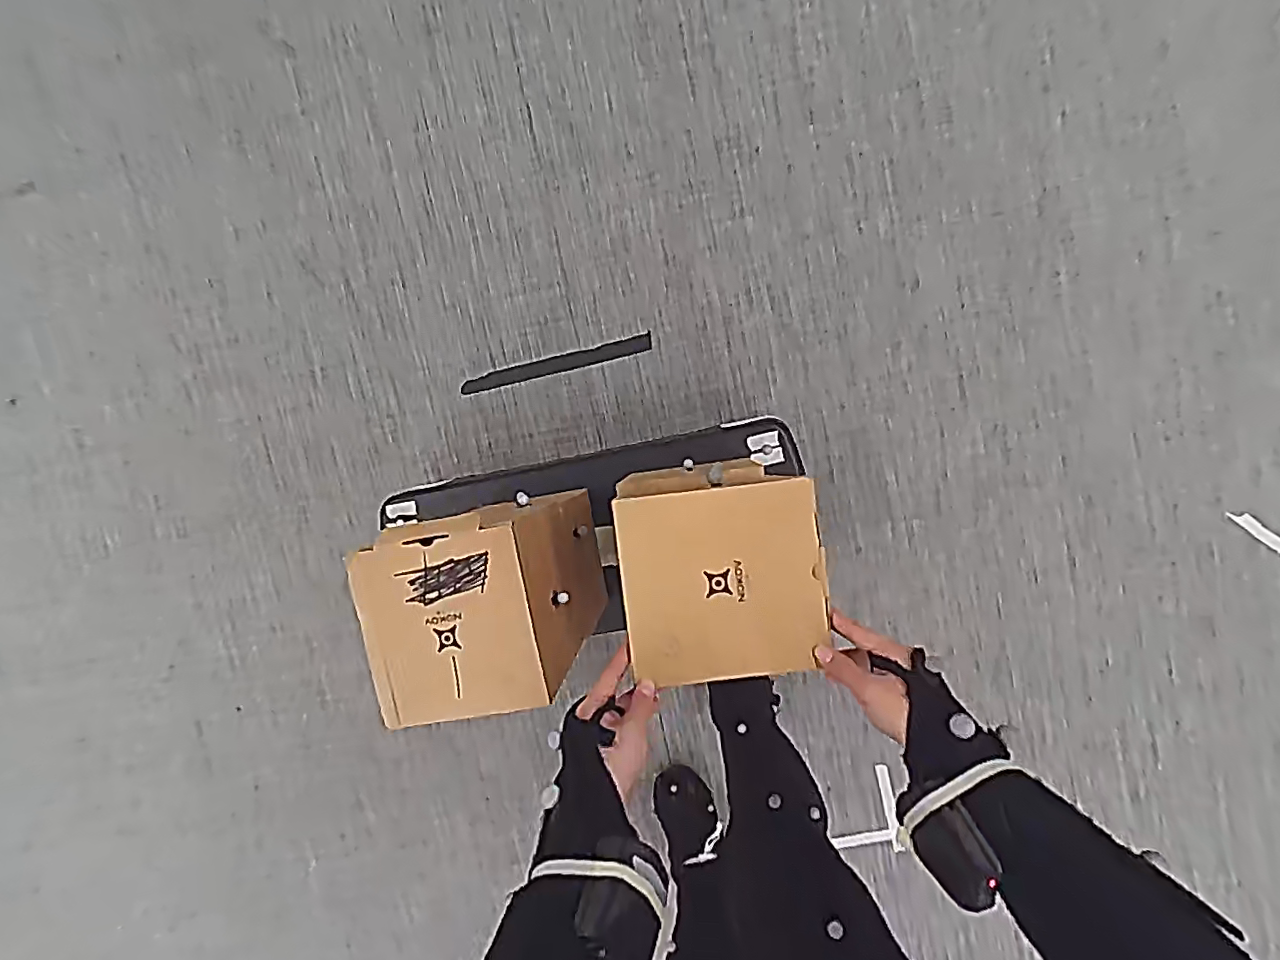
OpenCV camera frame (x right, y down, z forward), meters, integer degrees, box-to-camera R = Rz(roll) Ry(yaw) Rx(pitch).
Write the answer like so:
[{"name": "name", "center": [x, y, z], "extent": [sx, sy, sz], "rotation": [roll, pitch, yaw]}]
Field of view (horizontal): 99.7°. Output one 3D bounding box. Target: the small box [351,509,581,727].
[{"name": "small box", "center": [-0.169, 0.131, 0.580], "extent": [0.168, 0.176, 0.179], "rotation": [-10, 94, 6]}]

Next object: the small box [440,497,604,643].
[{"name": "small box", "center": [-0.152, 0.121, 0.743], "extent": [0.168, 0.176, 0.179], "rotation": [-9, 94, 6]}]

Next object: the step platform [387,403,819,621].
[{"name": "step platform", "center": [-0.059, 0.073, 0.906], "extent": [0.684, 0.204, 0.286], "rotation": [-12, 93, 6]}]

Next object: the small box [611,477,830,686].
[{"name": "small box", "center": [0.070, 0.089, 0.545], "extent": [0.179, 0.176, 0.168], "rotation": [-7, 90, -1]}]
